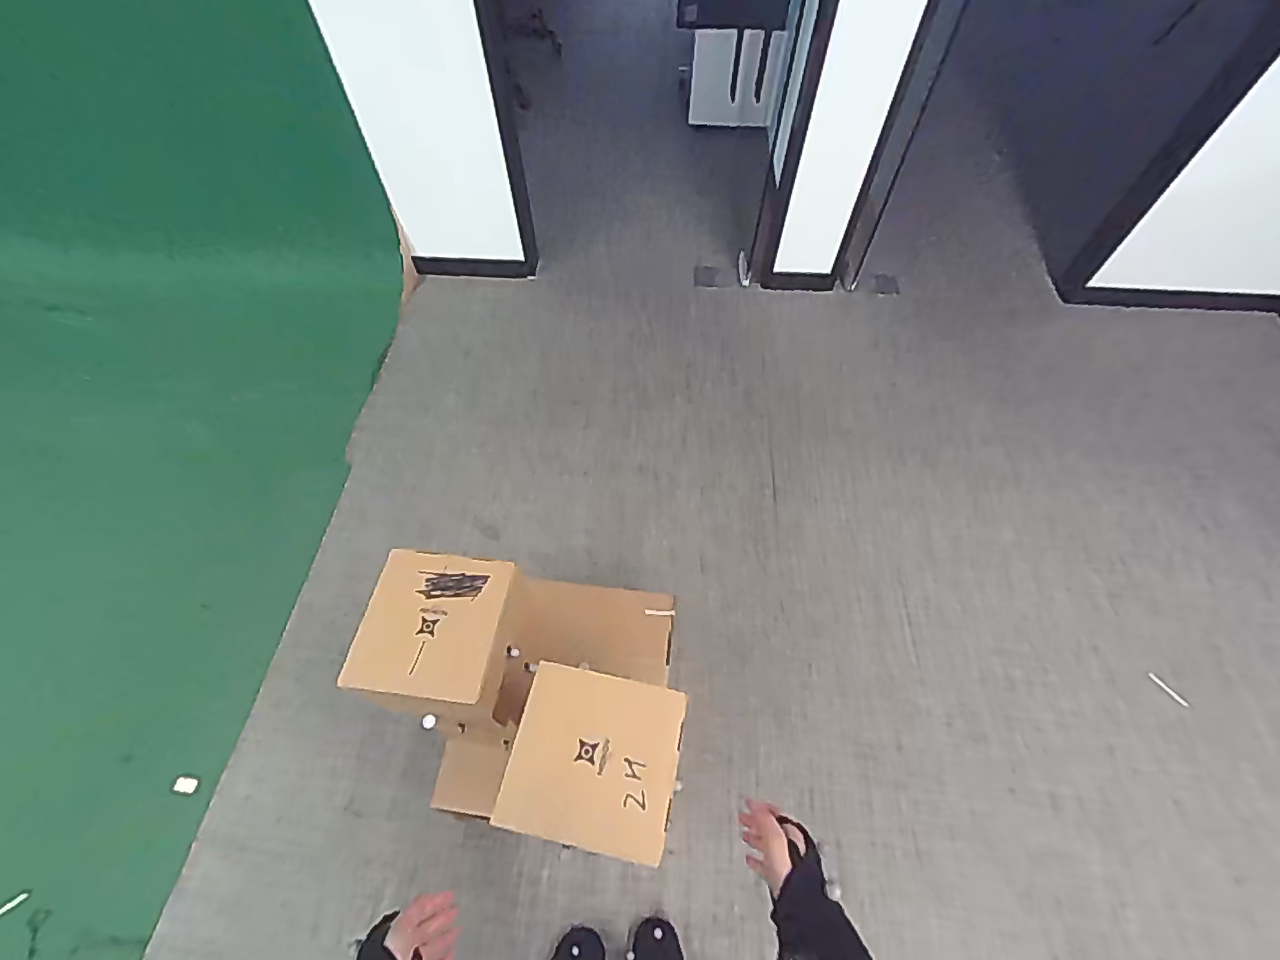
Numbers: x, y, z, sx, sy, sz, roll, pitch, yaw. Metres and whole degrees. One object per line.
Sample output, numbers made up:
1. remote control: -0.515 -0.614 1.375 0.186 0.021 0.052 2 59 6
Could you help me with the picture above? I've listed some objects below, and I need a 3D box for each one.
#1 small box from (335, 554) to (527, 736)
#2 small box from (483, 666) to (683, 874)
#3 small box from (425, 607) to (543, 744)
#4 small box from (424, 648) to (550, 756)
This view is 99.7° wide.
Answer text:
1. small box: -0.255 0.221 0.716 0.168 0.176 0.179 7 56 4
2. small box: -0.055 0.339 0.631 0.179 0.176 0.168 11 57 6
3. small box: -0.256 0.303 0.858 0.168 0.176 0.179 7 57 3
4. small box: -0.263 0.398 0.991 0.168 0.176 0.179 7 55 4
